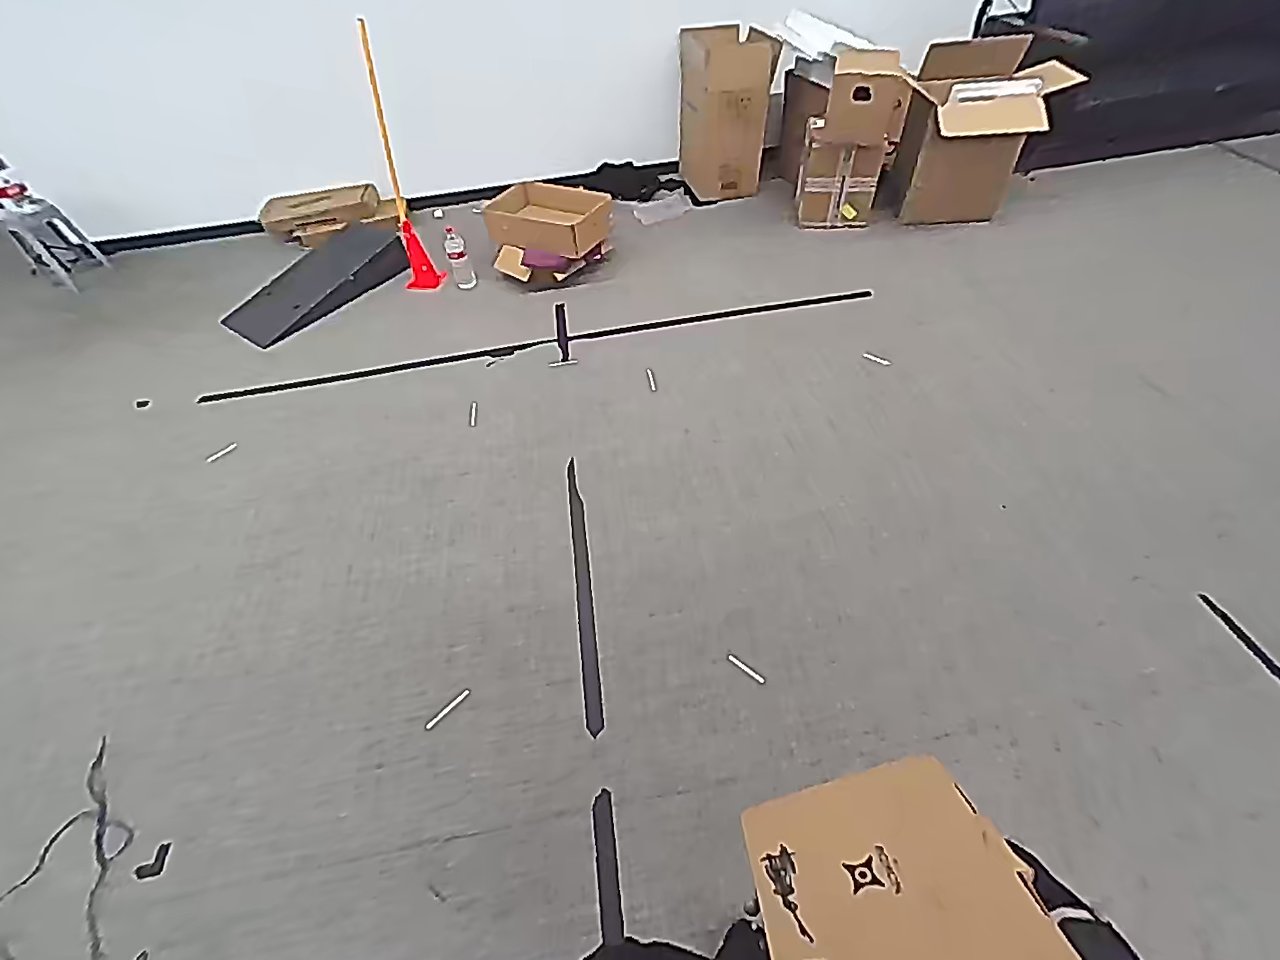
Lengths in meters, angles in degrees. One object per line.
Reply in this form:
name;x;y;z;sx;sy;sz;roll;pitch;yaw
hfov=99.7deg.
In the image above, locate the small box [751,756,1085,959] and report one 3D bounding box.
small box;0.206;0.359;0.415;0.179;0.176;0.168;-20;13;5
